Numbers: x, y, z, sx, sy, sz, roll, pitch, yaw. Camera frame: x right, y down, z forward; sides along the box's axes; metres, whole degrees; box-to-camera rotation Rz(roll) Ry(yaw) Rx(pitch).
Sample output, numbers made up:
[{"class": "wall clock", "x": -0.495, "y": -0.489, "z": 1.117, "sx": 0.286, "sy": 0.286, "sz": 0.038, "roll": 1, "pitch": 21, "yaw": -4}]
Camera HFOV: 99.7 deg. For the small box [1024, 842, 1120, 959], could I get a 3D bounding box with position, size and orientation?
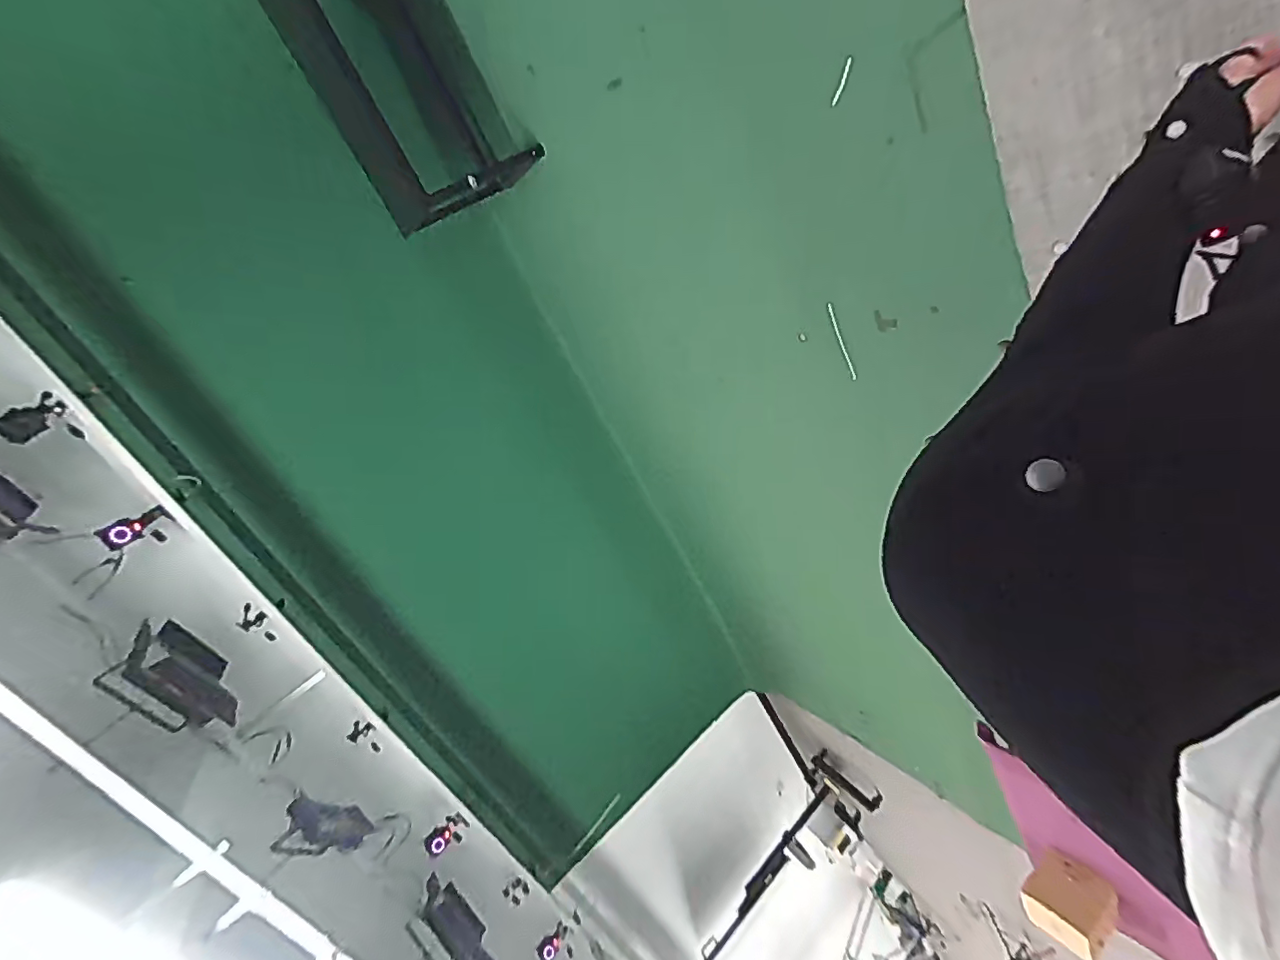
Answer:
[{"class": "small box", "x": 1.252, "y": 1.208, "z": 1.563, "sx": 0.168, "sy": 0.176, "sz": 0.179, "roll": 16, "pitch": 139, "yaw": 58}]
